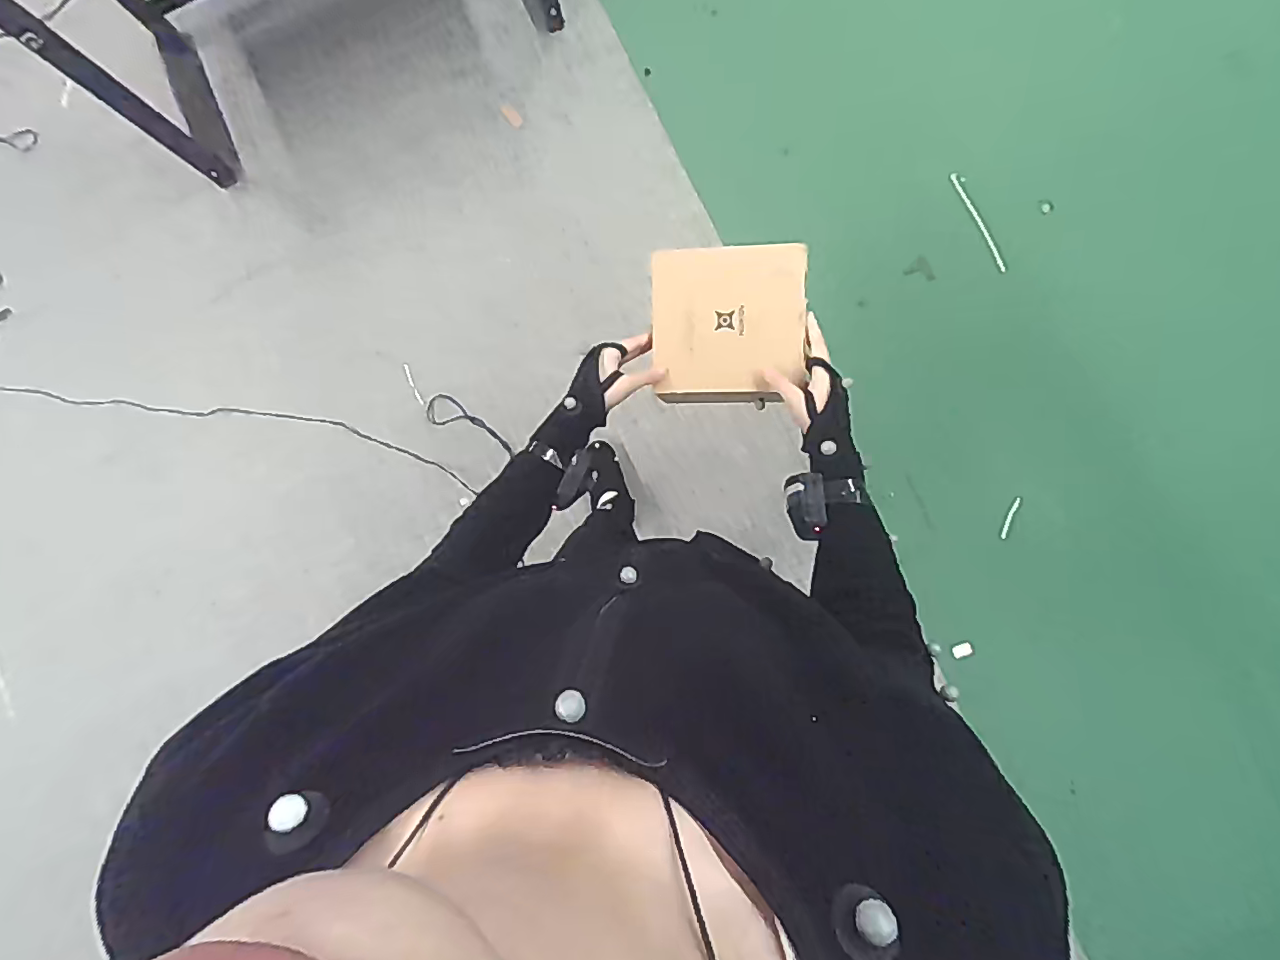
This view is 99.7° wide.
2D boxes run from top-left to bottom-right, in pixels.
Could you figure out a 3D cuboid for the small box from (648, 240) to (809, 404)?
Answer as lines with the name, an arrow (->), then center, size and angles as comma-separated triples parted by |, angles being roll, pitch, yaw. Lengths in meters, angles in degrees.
small box -> 0.106, -0.187, 0.680 | 0.179, 0.176, 0.168 | 1, 92, 8
